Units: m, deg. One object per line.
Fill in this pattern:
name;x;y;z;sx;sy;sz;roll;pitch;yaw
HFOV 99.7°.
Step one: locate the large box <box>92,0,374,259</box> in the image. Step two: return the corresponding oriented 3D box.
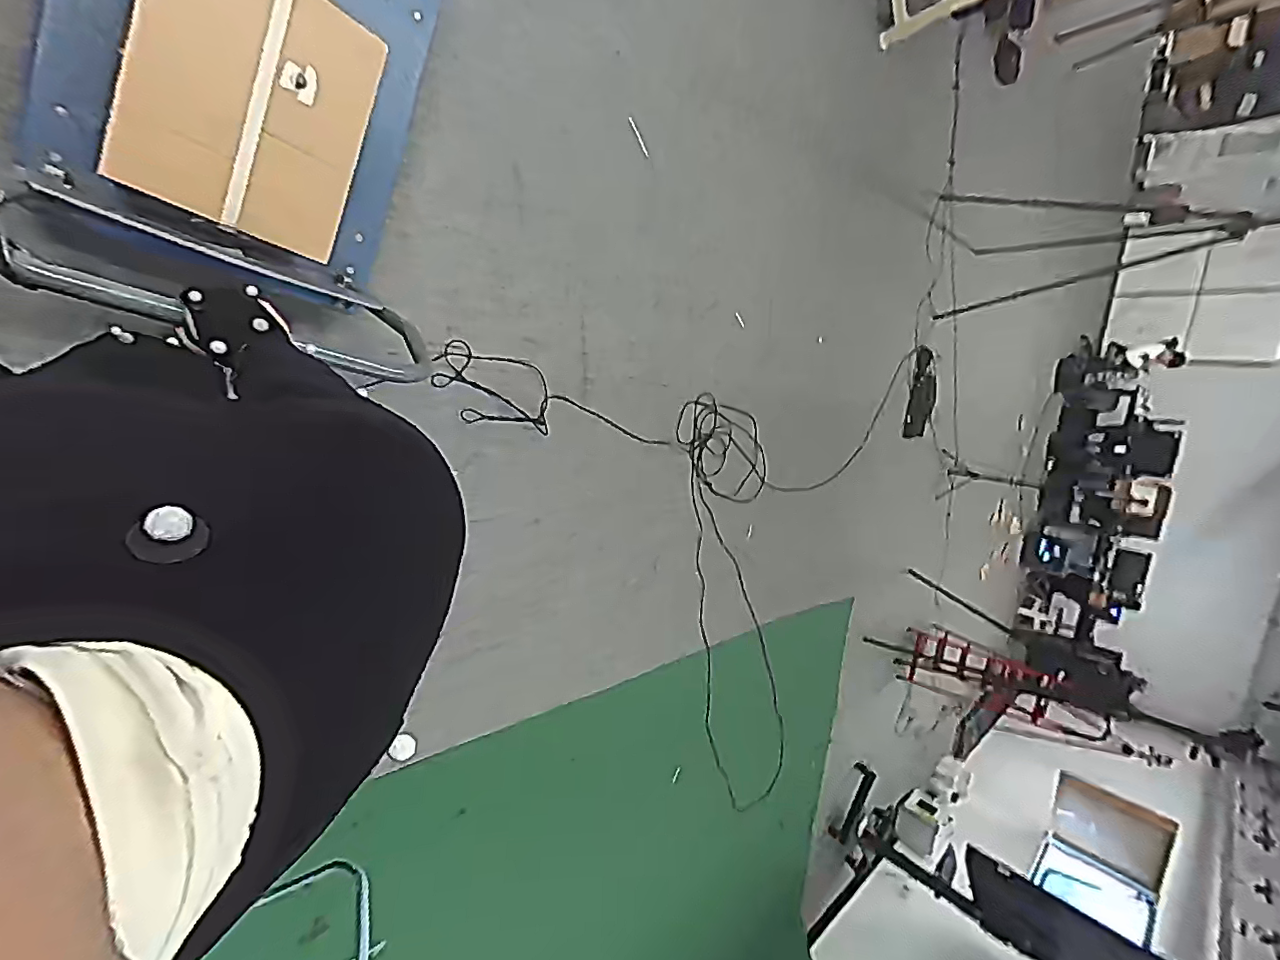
large box;-0.737;-0.667;0.989;0.320;0.320;0.408;14;100;-45
